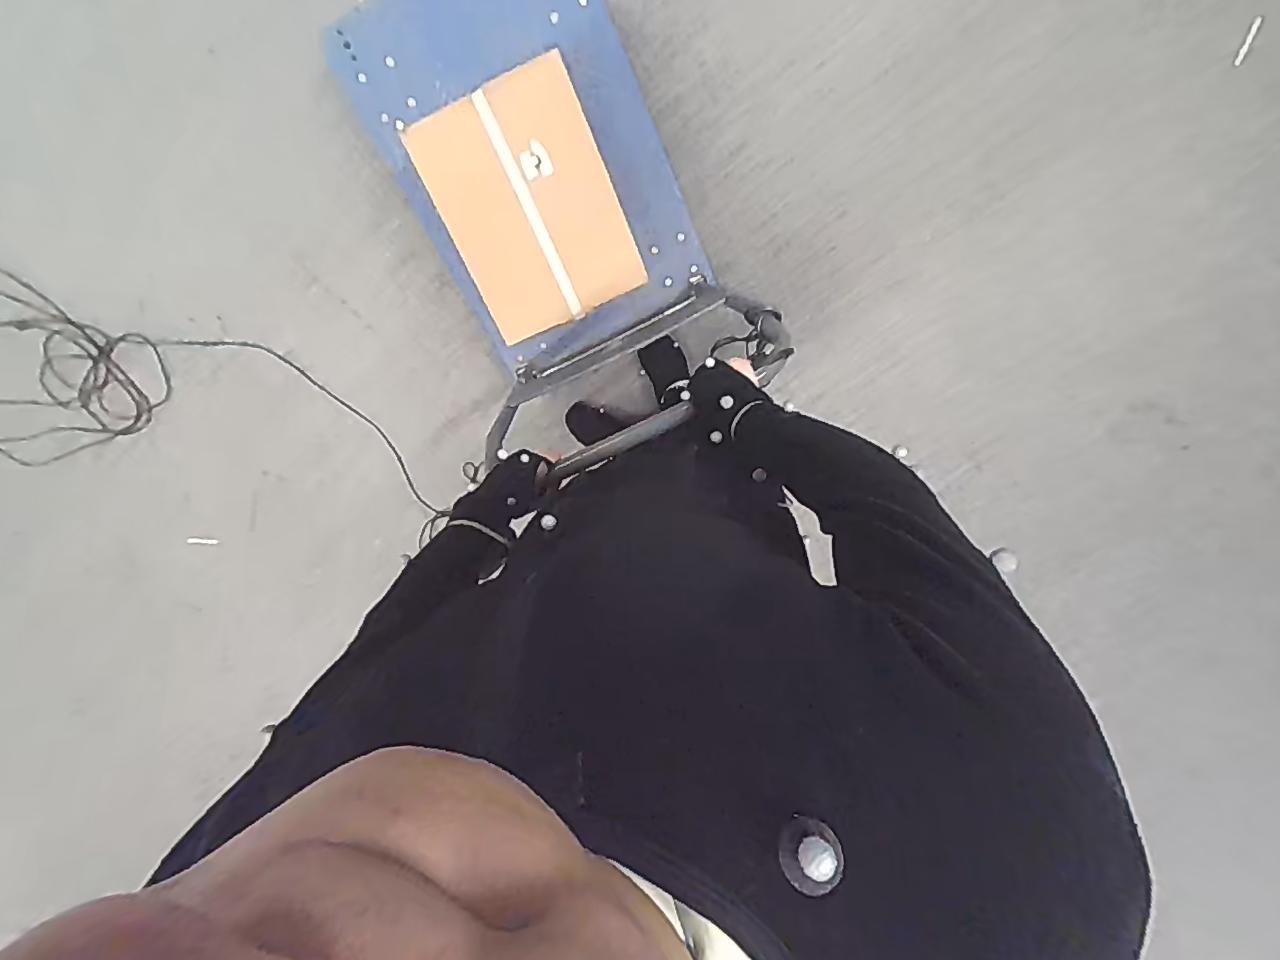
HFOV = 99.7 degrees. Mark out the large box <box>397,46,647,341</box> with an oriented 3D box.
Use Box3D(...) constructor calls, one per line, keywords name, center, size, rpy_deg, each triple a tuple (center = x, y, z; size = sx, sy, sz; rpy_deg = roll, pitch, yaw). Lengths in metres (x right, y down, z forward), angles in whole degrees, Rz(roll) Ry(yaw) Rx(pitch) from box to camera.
Box3D(name="large box", center=(-0.206, -0.550, 1.118), size=(0.320, 0.320, 0.408), rpy_deg=(-23, 110, 6))
